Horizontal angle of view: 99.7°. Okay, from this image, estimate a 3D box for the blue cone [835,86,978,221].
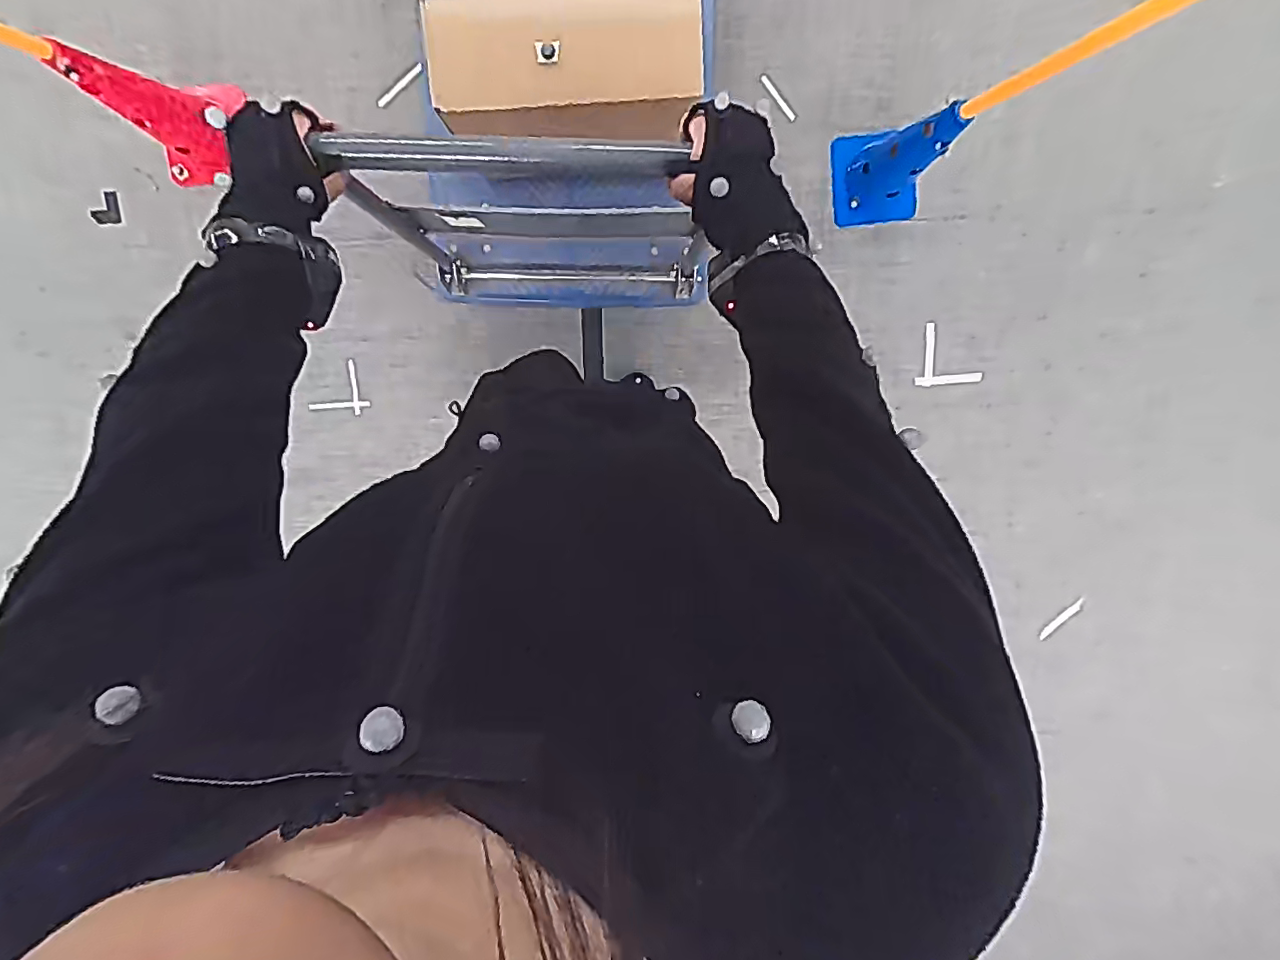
[{"bbox_3d":[0.566,-0.689,1.121,0.193,0.380,0.192,-6,101,-1],"label":"blue cone"}]
